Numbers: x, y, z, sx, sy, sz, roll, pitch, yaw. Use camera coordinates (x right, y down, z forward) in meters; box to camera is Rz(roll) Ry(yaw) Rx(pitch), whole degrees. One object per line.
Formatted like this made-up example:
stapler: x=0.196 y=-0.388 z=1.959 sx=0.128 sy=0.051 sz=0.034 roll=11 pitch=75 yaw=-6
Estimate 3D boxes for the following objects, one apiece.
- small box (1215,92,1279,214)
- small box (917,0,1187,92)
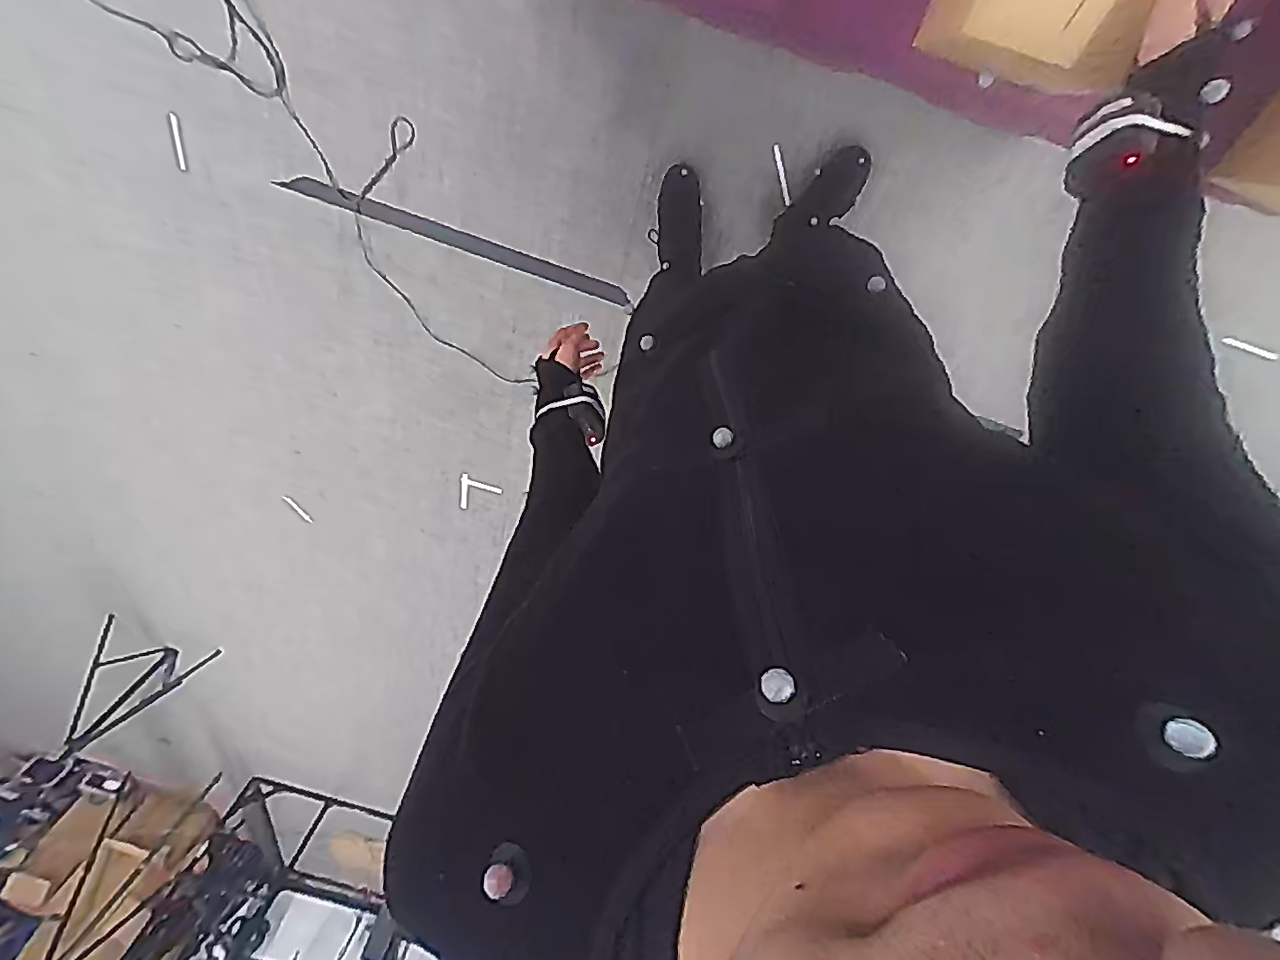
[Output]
small box: x=0.734 y=-0.338 z=0.508 sx=0.168 sy=0.176 sz=0.179 roll=21 pitch=125 yaw=-3
small box: x=0.380 y=-0.475 z=0.482 sx=0.168 sy=0.176 sz=0.179 roll=18 pitch=127 yaw=-1
